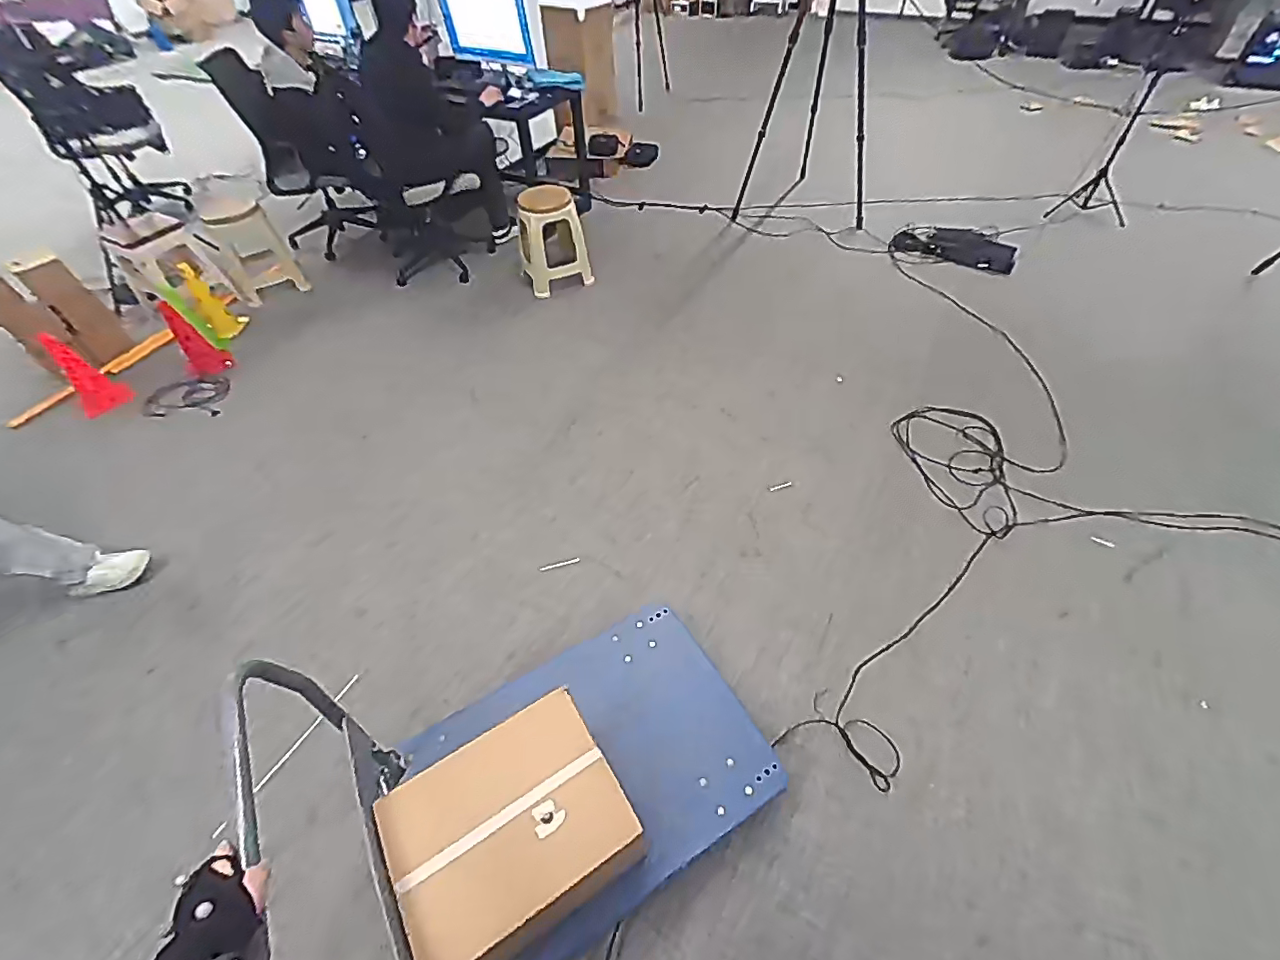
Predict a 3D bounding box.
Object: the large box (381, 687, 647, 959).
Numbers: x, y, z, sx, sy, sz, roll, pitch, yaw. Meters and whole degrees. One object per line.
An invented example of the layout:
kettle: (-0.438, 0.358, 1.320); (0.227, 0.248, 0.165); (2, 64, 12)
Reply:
large box: (-0.232, 0.710, 1.090); (0.408, 0.320, 0.320); (-26, 53, -21)
